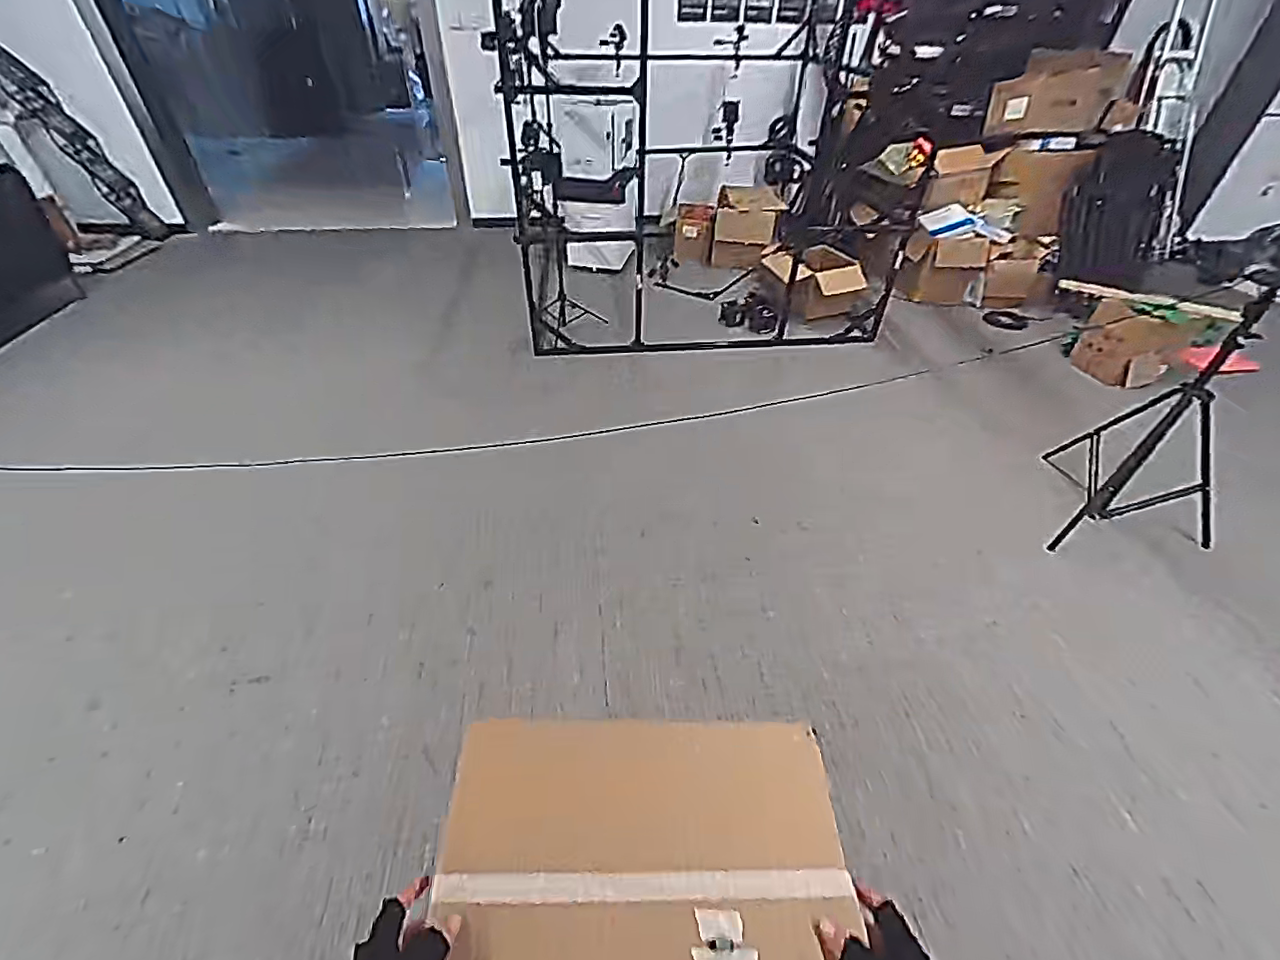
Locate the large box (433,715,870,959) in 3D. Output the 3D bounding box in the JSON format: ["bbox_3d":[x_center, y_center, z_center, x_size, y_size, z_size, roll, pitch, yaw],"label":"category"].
[{"bbox_3d":[0.000,0.494,0.632,0.408,0.320,0.320,2,45,-4],"label":"large box"}]
